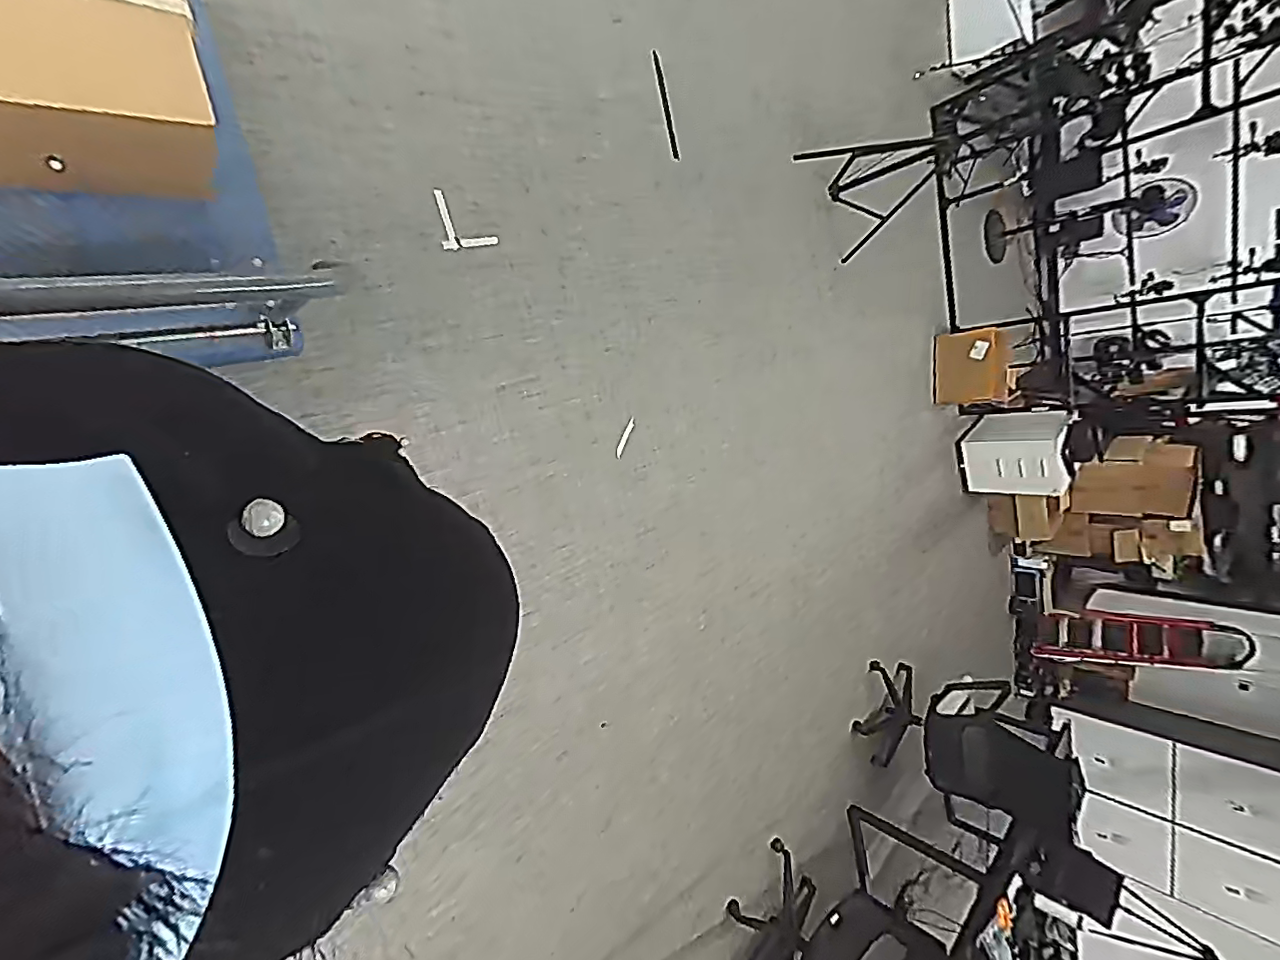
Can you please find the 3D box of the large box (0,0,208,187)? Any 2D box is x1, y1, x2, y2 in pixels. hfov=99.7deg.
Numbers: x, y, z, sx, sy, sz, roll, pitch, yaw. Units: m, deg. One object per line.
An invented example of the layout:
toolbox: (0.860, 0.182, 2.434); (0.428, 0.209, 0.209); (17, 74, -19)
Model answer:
large box: (-0.922, -0.649, 0.783); (0.408, 0.320, 0.320); (-18, 103, -37)
